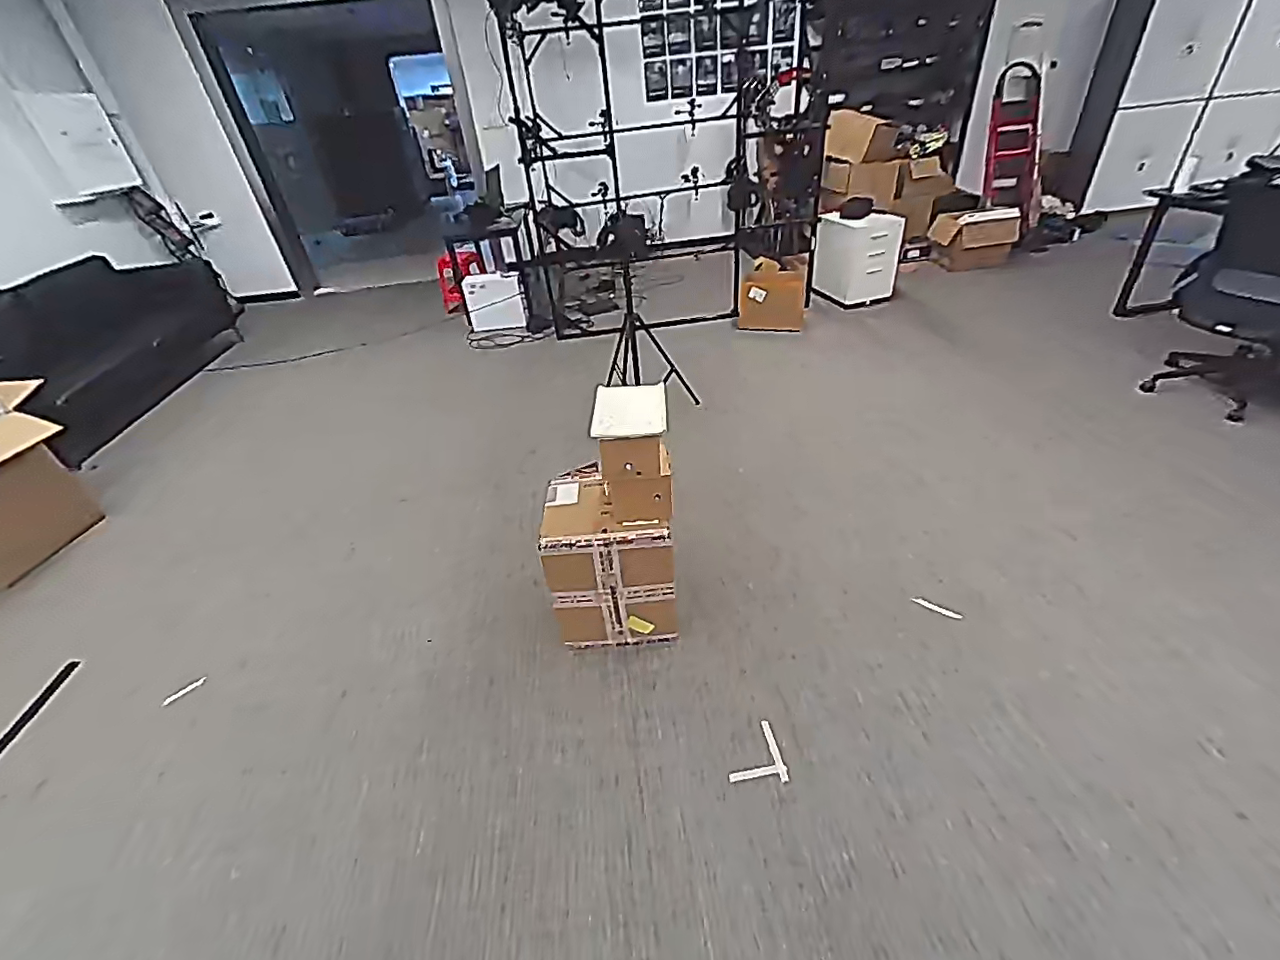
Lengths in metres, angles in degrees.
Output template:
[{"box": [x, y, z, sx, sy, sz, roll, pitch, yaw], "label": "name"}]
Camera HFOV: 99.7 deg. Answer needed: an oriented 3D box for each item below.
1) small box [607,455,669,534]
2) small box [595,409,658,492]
[{"box": [-0.006, 0.045, 1.625, 0.179, 0.176, 0.168, -5, 37, -1], "label": "small box"}, {"box": [-0.034, -0.083, 1.524, 0.168, 0.176, 0.179, -2, 38, 2], "label": "small box"}]
